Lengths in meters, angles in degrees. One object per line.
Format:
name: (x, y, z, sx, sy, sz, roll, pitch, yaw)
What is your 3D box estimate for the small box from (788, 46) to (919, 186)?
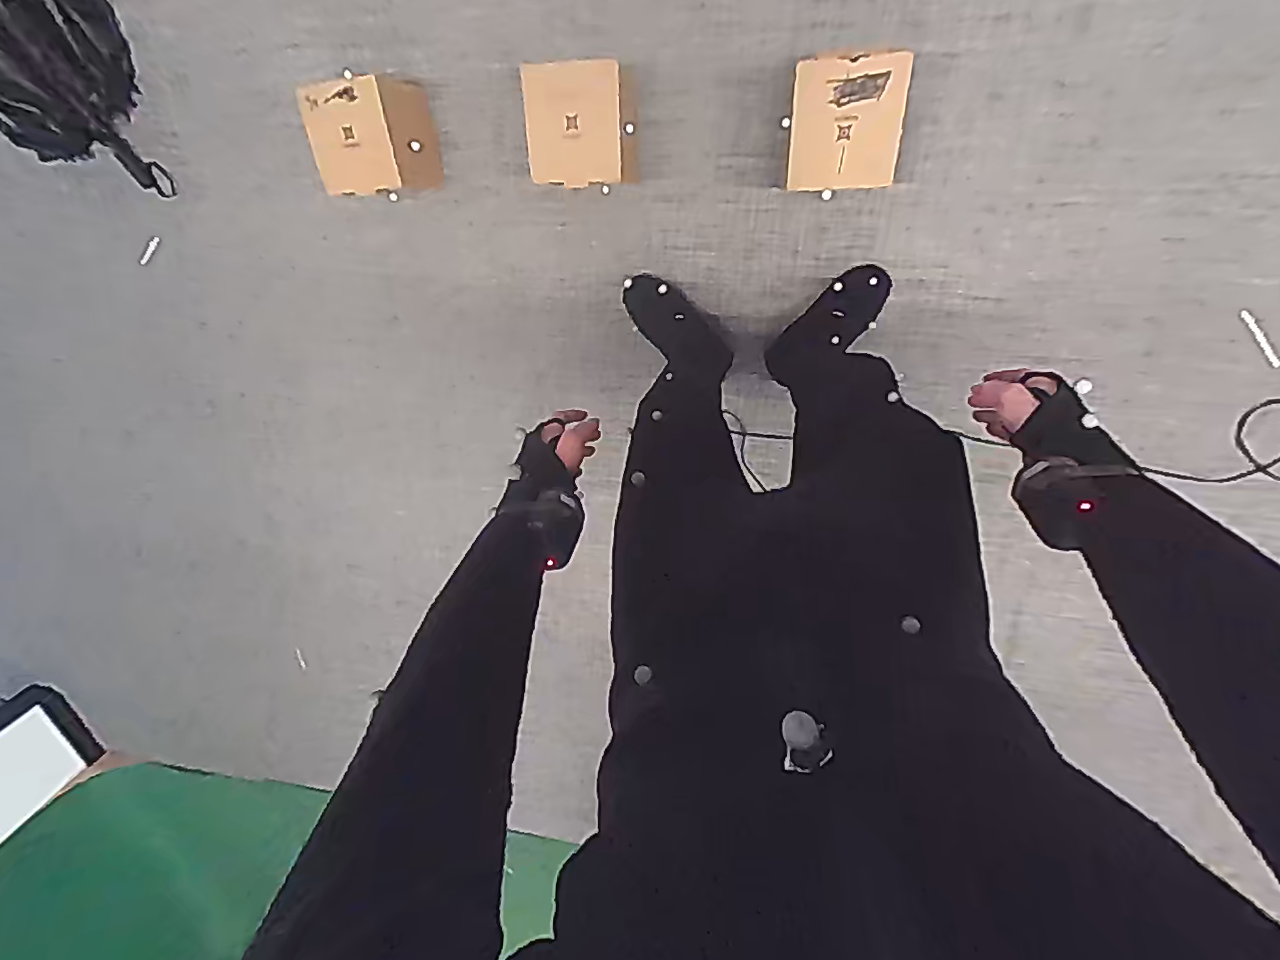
small box: (0.339, -0.589, 0.897, 0.168, 0.176, 0.179, 4, 120, 12)

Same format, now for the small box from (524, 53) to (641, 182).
small box: (-0.092, -0.639, 0.971, 0.168, 0.176, 0.179, 3, 119, 9)

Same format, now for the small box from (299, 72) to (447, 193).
small box: (-0.501, -0.665, 1.047, 0.168, 0.176, 0.179, 1, 120, 12)
